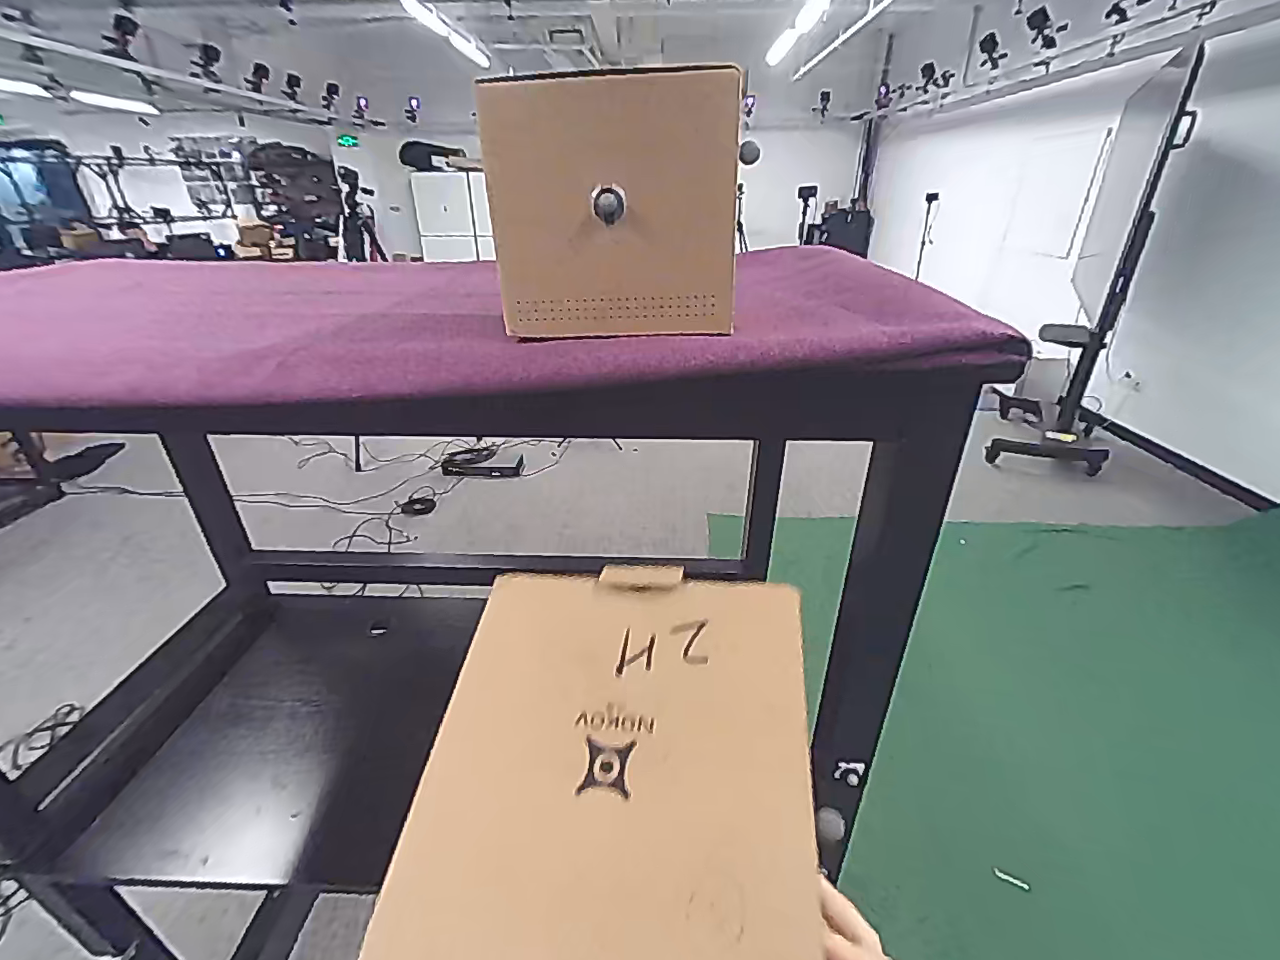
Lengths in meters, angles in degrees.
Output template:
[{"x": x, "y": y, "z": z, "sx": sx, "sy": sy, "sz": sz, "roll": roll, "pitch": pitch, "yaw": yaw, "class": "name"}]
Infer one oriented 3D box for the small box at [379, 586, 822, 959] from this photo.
[{"x": 0.004, "y": 0.179, "z": 0.293, "sx": 0.168, "sy": 0.176, "sz": 0.179, "roll": 0, "pitch": 47, "yaw": 11, "class": "small box"}]
